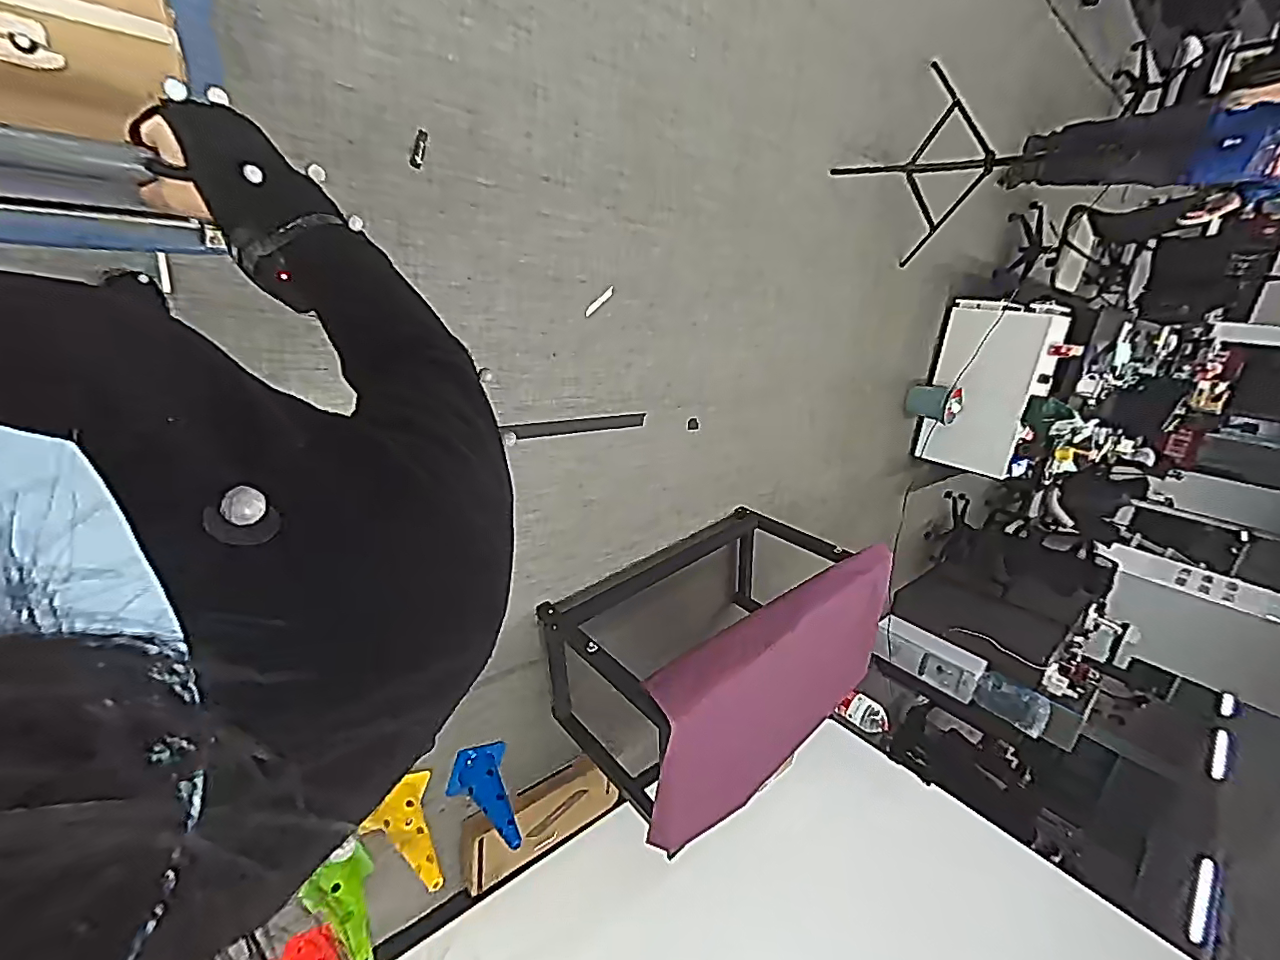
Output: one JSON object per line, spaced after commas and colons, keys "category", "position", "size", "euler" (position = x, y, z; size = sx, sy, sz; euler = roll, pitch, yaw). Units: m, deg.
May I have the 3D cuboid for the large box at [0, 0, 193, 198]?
{"category": "large box", "position": [-0.837, -0.550, 0.650], "size": [0.408, 0.320, 0.320], "euler": [-13, 115, -40]}
